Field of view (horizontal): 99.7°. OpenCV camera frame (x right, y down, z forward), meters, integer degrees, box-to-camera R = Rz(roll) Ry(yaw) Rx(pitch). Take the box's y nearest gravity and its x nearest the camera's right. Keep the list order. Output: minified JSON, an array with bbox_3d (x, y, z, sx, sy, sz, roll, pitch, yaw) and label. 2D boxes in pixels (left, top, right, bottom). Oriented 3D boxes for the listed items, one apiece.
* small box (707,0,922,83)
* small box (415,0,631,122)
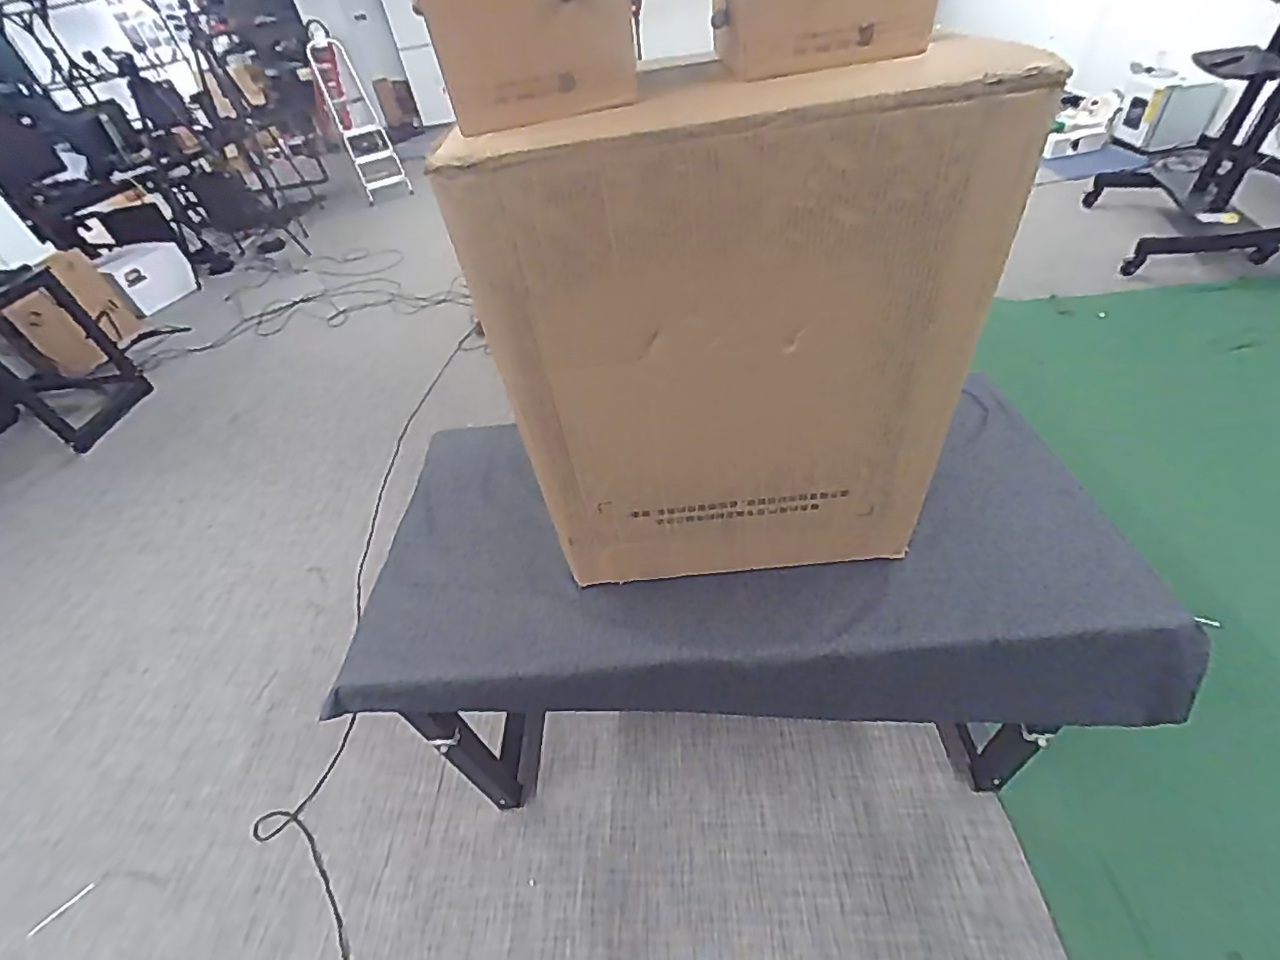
[{"bbox_3d":[0.154,-0.486,0.493,0.168,0.176,0.179,-9,47,2],"label":"small box"},{"bbox_3d":[-0.110,-0.445,0.485,0.168,0.176,0.179,-13,47,-2],"label":"small box"}]
